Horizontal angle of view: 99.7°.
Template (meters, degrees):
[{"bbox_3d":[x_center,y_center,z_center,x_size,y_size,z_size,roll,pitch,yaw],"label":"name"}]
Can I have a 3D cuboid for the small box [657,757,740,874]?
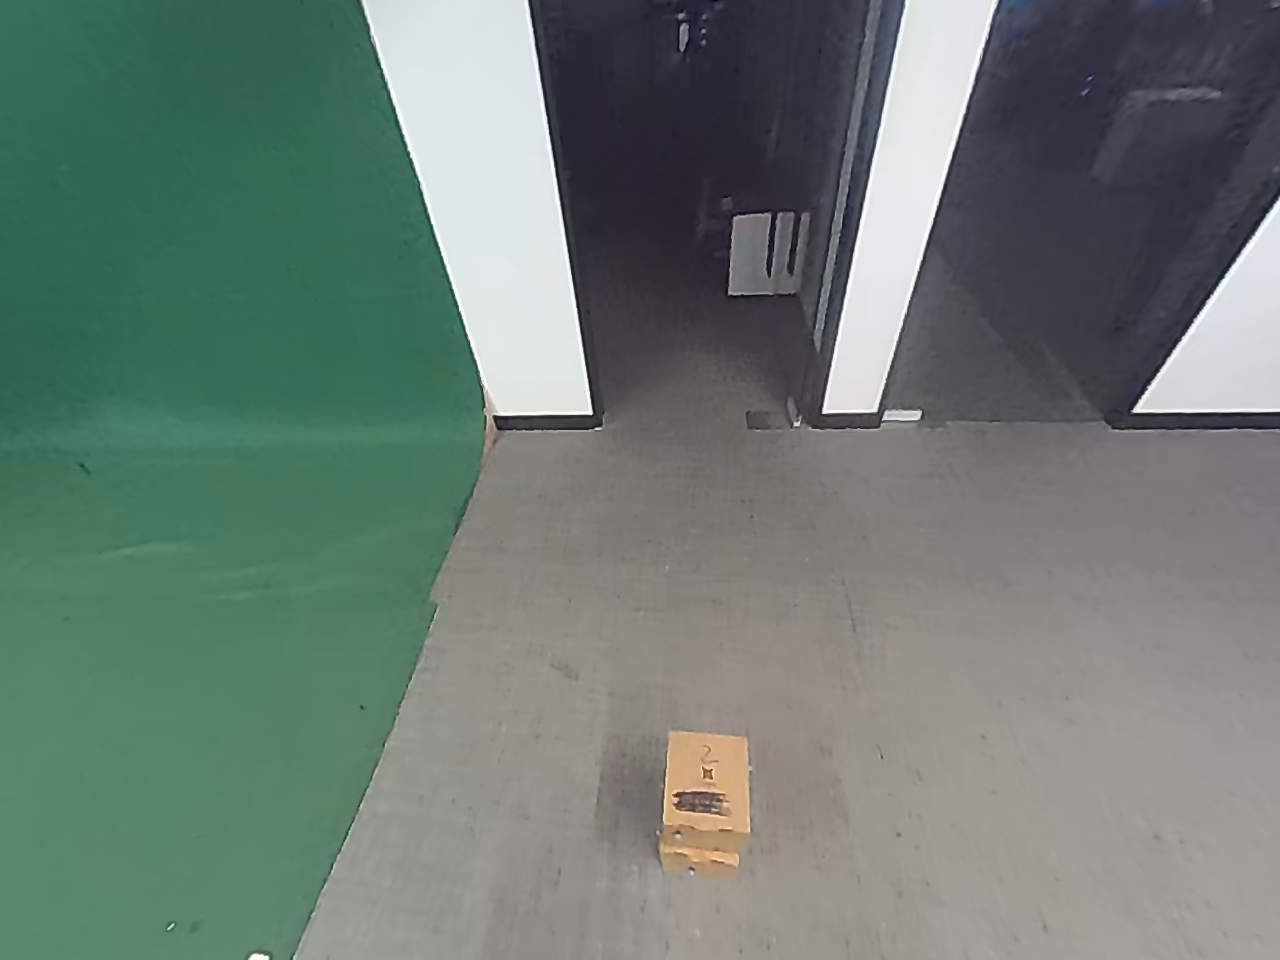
[{"bbox_3d":[0.134,0.769,1.239,0.168,0.176,0.179,5,45,10],"label":"small box"}]
